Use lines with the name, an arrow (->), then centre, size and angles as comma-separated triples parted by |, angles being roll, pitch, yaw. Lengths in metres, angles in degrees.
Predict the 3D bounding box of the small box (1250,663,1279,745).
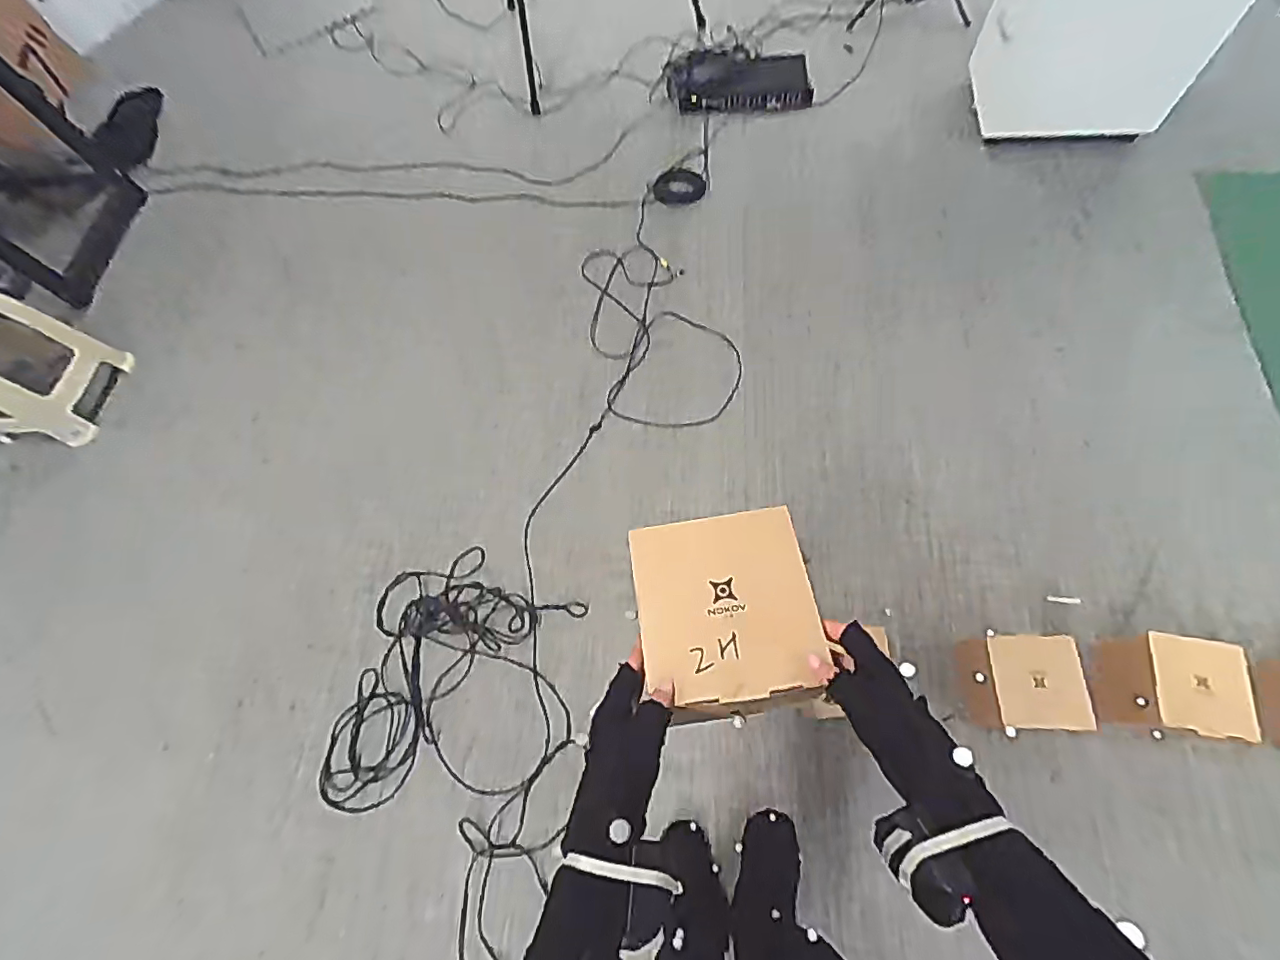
small box -> 1.381, 0.456, 1.056 | 0.168, 0.176, 0.179 | 3, 66, 7

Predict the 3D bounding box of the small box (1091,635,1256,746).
small box -> 1.066, 0.427, 1.101 | 0.168, 0.176, 0.179 | 8, 68, 9

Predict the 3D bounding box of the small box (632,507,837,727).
small box -> 0.087, 0.152, 0.574 | 0.168, 0.176, 0.179 | -9, 61, 2

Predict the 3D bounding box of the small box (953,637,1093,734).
small box -> 0.782, 0.429, 1.129 | 0.168, 0.176, 0.179 | -2, 68, 7
